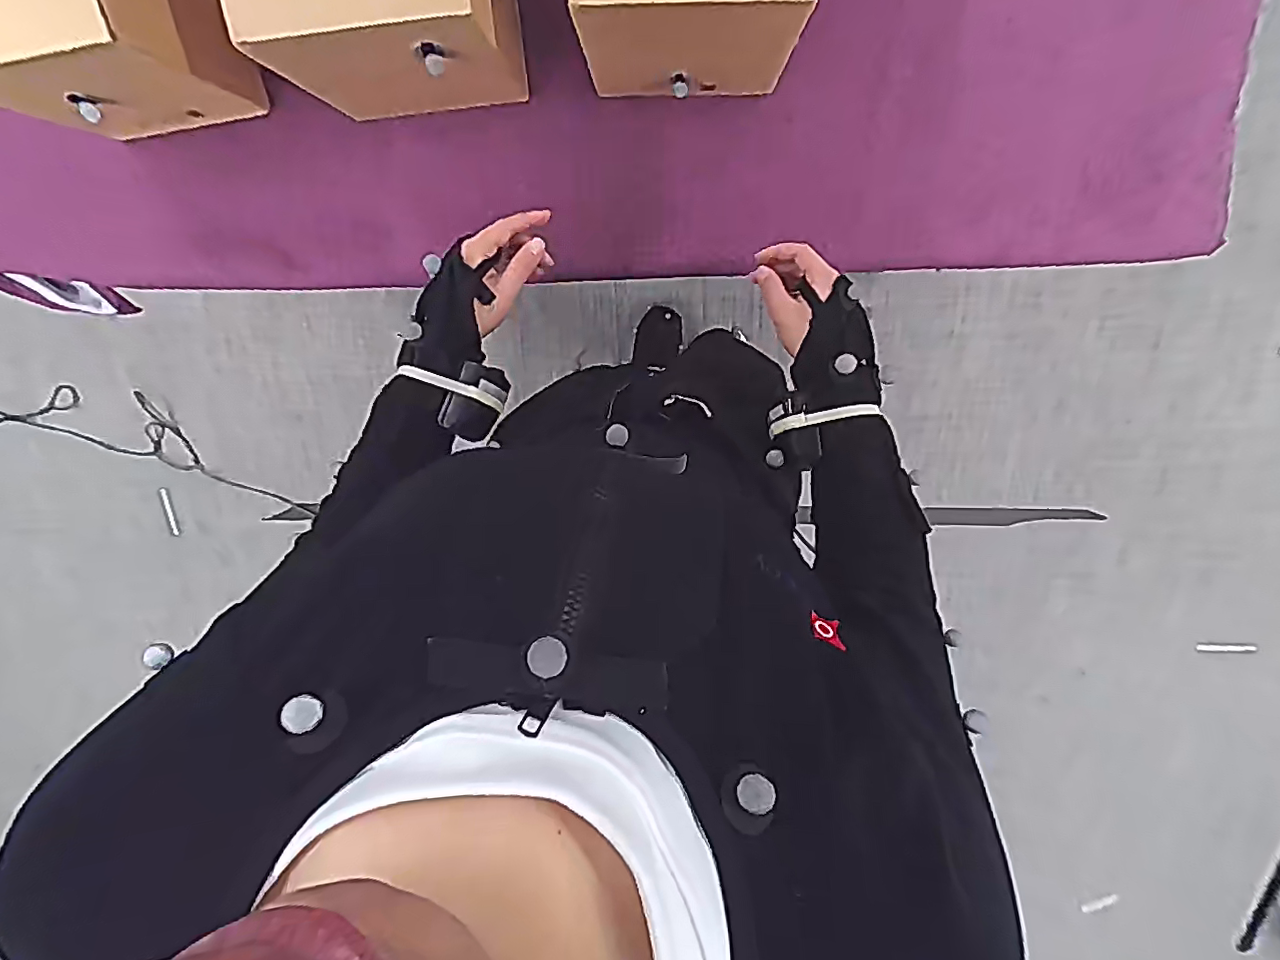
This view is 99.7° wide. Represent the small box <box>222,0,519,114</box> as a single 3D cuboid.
[{"bbox_3d":[-0.201,-0.412,0.421,0.179,0.176,0.168,-4,107,3],"label":"small box"}]

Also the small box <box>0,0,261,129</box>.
[{"bbox_3d":[-0.457,-0.409,0.437,0.168,0.176,0.179,-7,107,5],"label":"small box"}]
